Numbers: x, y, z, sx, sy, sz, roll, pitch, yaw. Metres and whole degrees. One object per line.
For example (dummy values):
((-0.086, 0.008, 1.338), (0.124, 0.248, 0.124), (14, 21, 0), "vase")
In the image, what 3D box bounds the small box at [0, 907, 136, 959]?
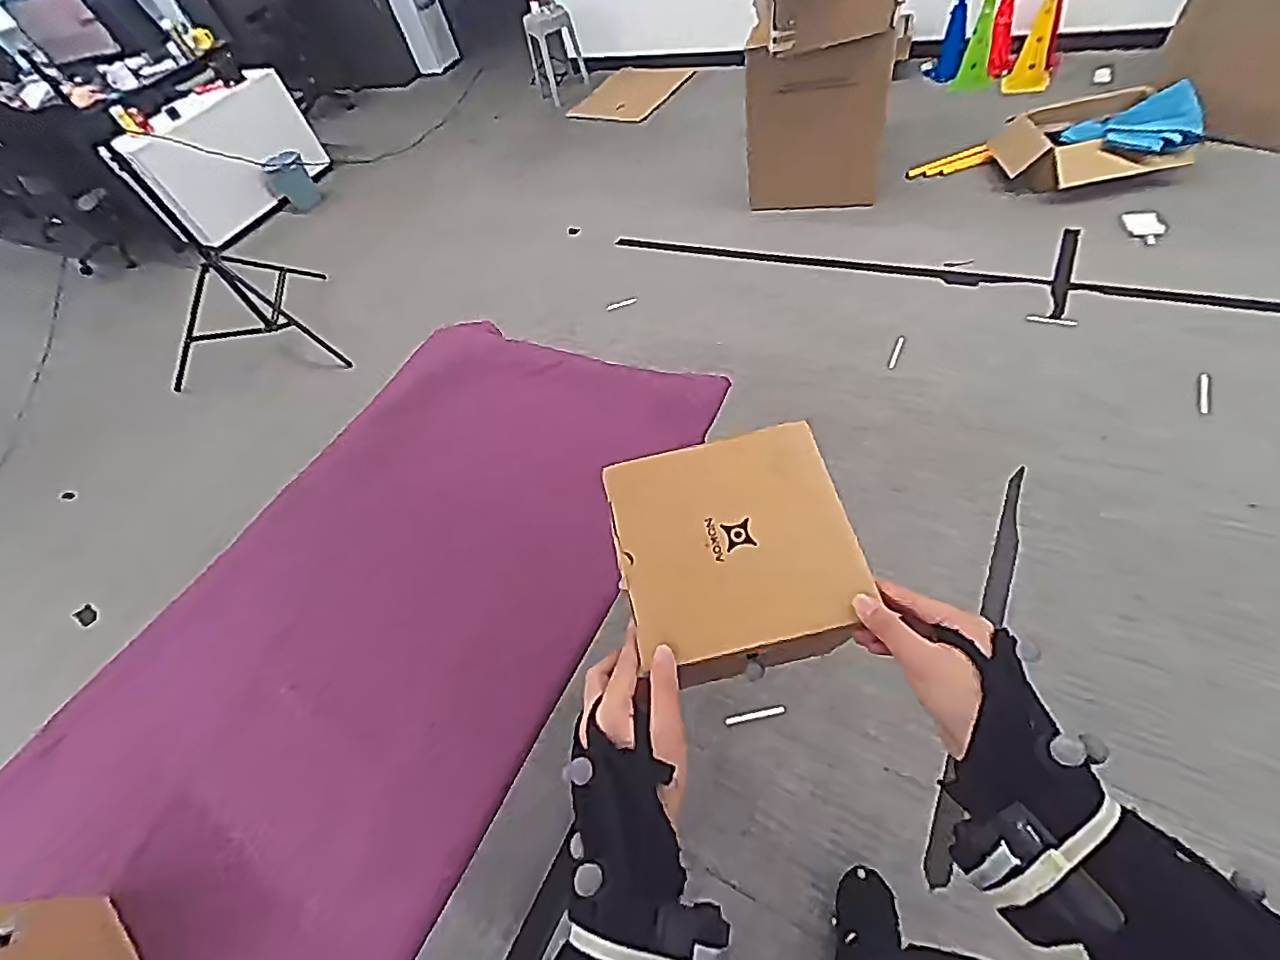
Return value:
((-0.587, 0.515, 0.471), (0.179, 0.176, 0.168), (25, 63, 27), "small box")
